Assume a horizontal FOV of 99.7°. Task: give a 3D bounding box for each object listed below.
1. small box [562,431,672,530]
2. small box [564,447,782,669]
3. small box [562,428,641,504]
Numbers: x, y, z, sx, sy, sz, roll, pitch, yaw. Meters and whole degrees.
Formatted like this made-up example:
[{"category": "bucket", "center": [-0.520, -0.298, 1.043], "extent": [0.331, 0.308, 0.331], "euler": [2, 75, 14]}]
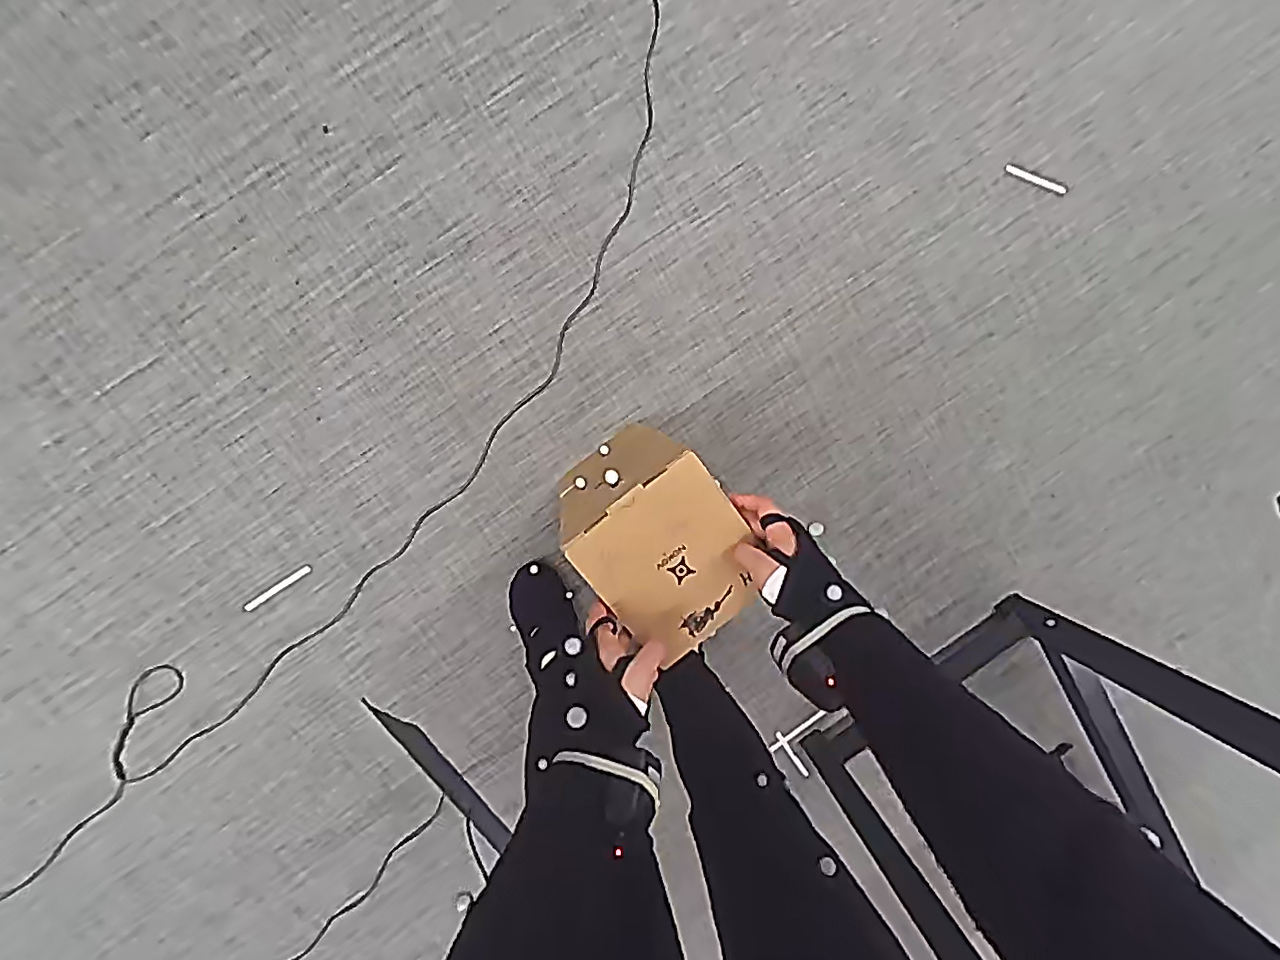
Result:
[{"category": "small box", "center": [0.004, 0.046, 0.790], "extent": [0.179, 0.176, 0.168], "euler": [-41, 103, -1]}, {"category": "small box", "center": [0.026, 0.073, 0.630], "extent": [0.168, 0.176, 0.179], "euler": [-38, 102, 0]}, {"category": "small box", "center": [-0.021, 0.024, 0.949], "extent": [0.179, 0.176, 0.168], "euler": [-37, 102, 1]}]
